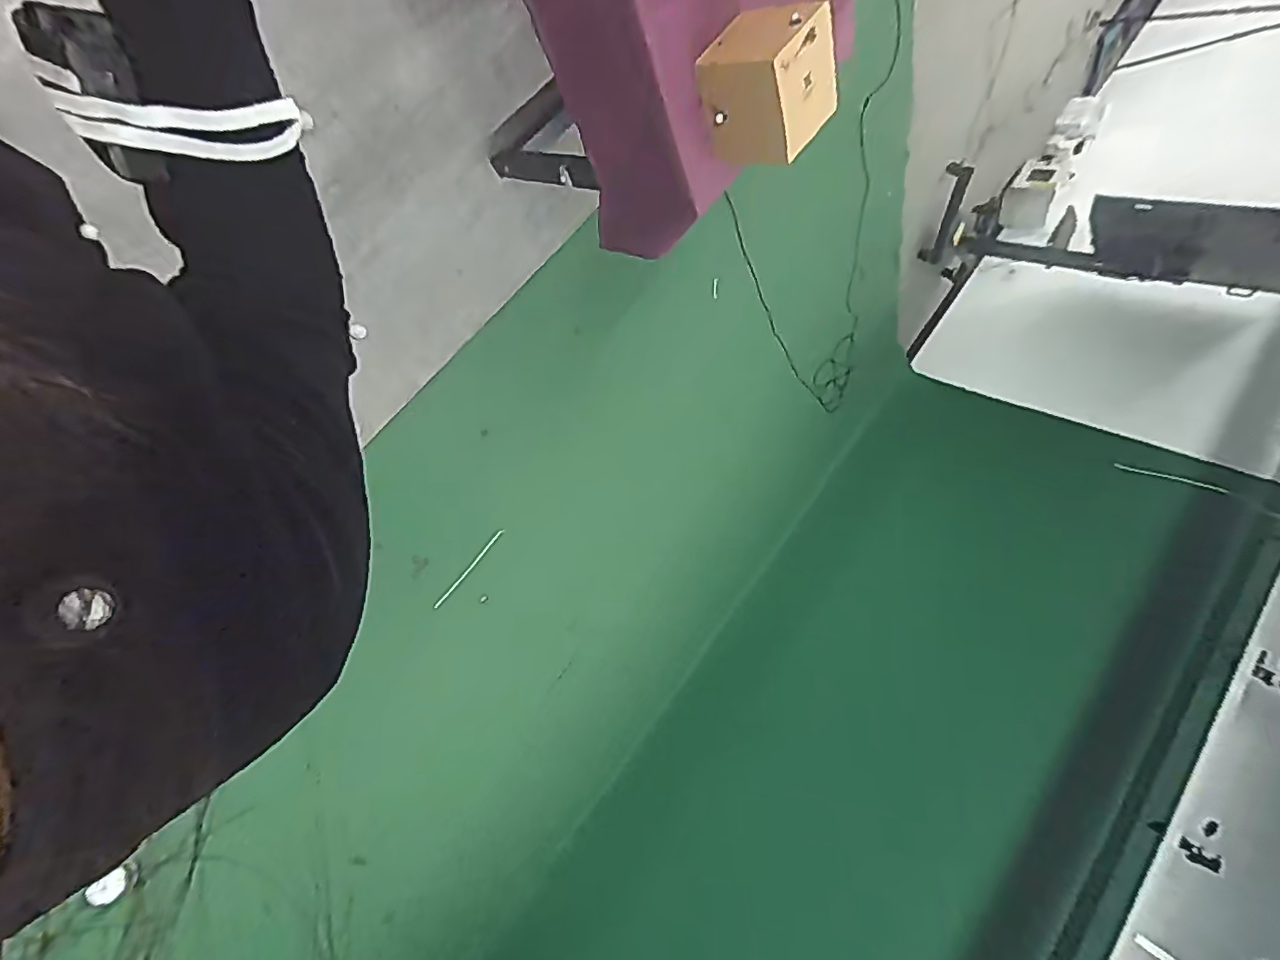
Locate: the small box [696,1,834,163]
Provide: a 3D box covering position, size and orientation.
[{"bbox_3d":[0.227,-0.713,0.975,0.168,0.176,0.179,-52,145,-12],"label":"small box"}]
